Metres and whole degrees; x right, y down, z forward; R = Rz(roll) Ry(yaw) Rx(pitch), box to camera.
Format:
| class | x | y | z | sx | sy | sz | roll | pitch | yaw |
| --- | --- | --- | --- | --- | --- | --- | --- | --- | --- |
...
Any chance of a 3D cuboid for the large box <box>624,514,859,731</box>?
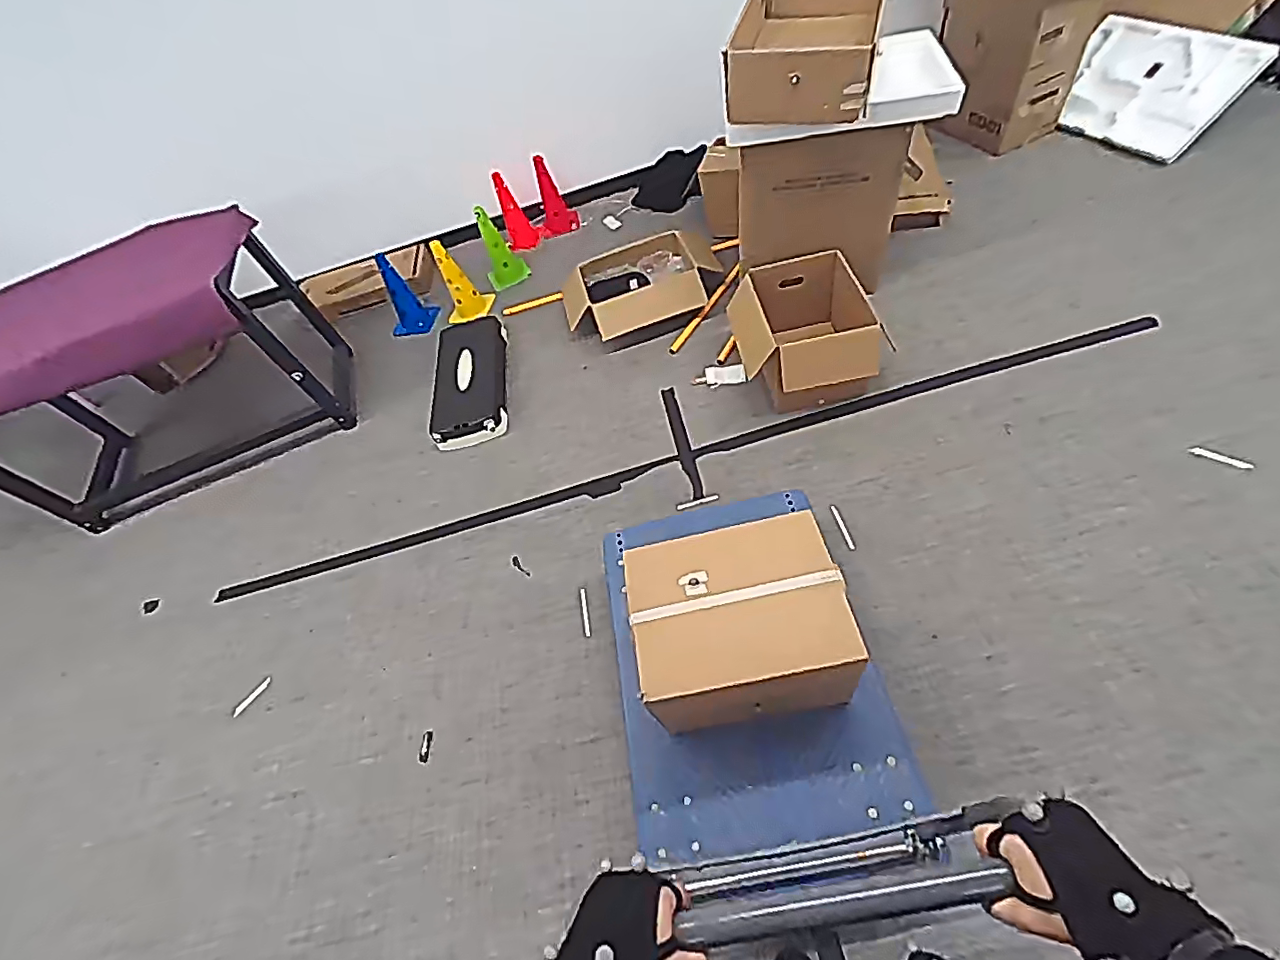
| class | x | y | z | sx | sy | sz | roll | pitch | yaw |
| --- | --- | --- | --- | --- | --- | --- | --- | --- | --- |
| large box | 0.210 | 0.322 | 1.178 | 0.408 | 0.320 | 0.320 | -14 | 53 | 5 |
